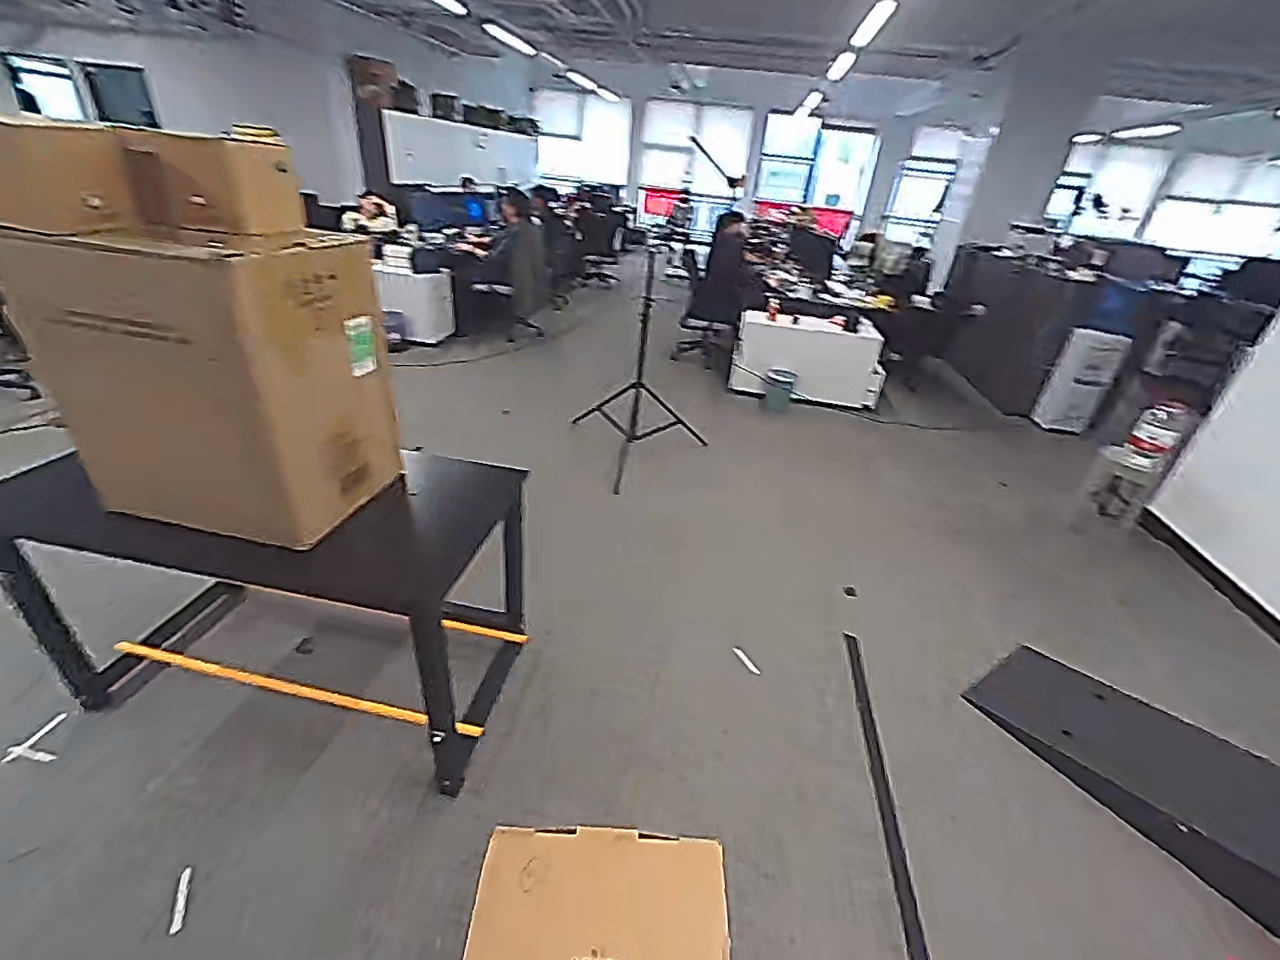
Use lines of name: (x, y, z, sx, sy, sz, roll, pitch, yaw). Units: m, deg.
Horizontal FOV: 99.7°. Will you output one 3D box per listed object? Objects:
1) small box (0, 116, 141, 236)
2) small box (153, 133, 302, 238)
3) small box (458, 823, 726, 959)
small box: (-1.071, -0.544, 0.971, 0.179, 0.176, 0.168, 11, 31, 2)
small box: (-0.838, -0.607, 1.123, 0.168, 0.176, 0.179, 8, 28, 5)
small box: (-0.035, 0.363, 0.365, 0.168, 0.176, 0.179, 3, 40, -1)
